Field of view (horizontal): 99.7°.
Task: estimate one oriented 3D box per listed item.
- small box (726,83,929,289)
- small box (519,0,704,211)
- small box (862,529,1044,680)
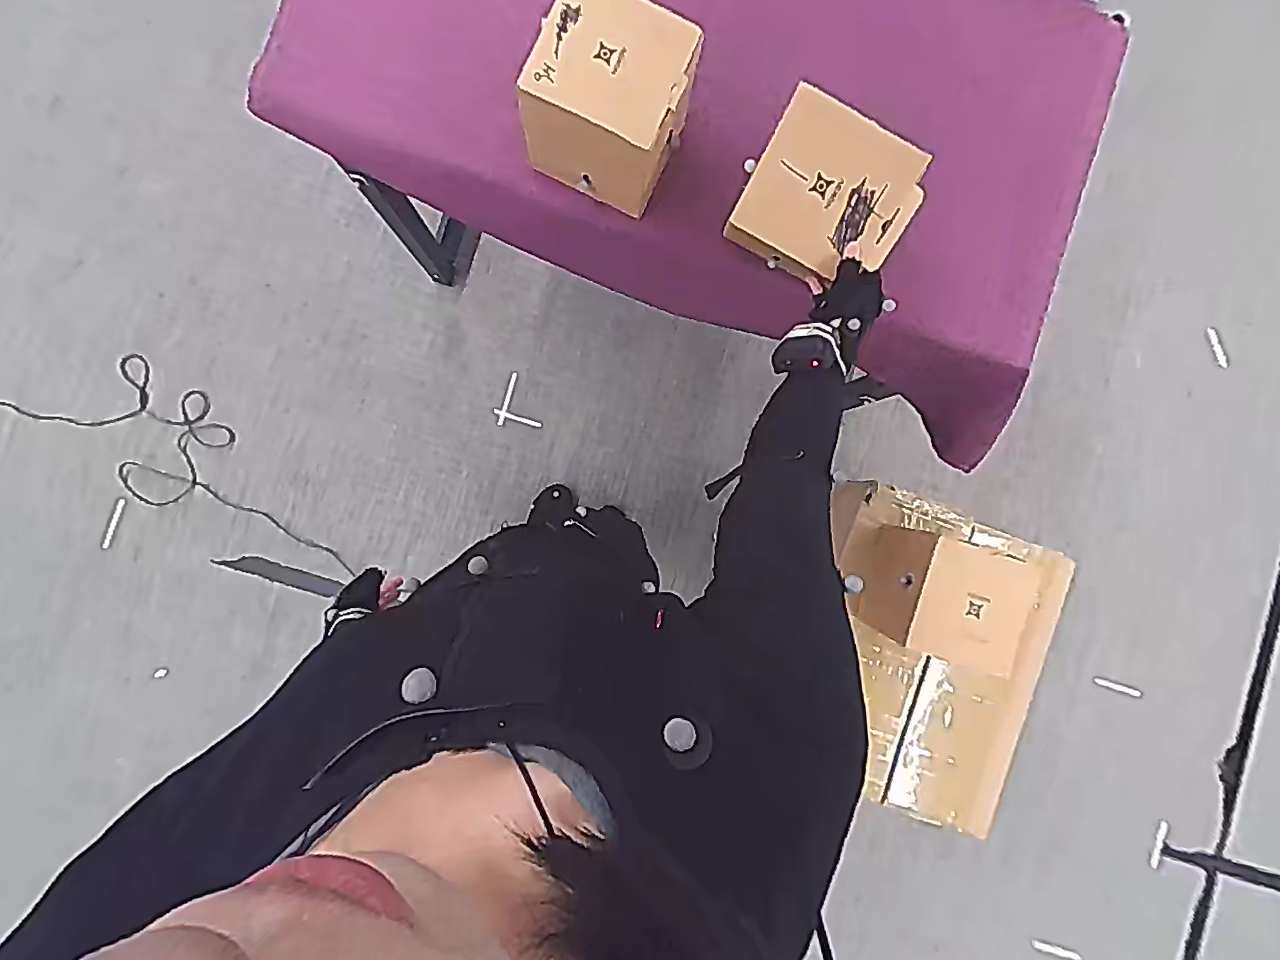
[{"bbox_3d":[0.231,-0.370,0.717,0.179,0.176,0.168,28,108,-3],"label":"small box"},{"bbox_3d":[-0.039,-0.496,0.723,0.179,0.176,0.168,24,86,-4],"label":"small box"},{"bbox_3d":[0.477,0.183,0.853,0.168,0.176,0.179,17,89,-1],"label":"small box"}]
